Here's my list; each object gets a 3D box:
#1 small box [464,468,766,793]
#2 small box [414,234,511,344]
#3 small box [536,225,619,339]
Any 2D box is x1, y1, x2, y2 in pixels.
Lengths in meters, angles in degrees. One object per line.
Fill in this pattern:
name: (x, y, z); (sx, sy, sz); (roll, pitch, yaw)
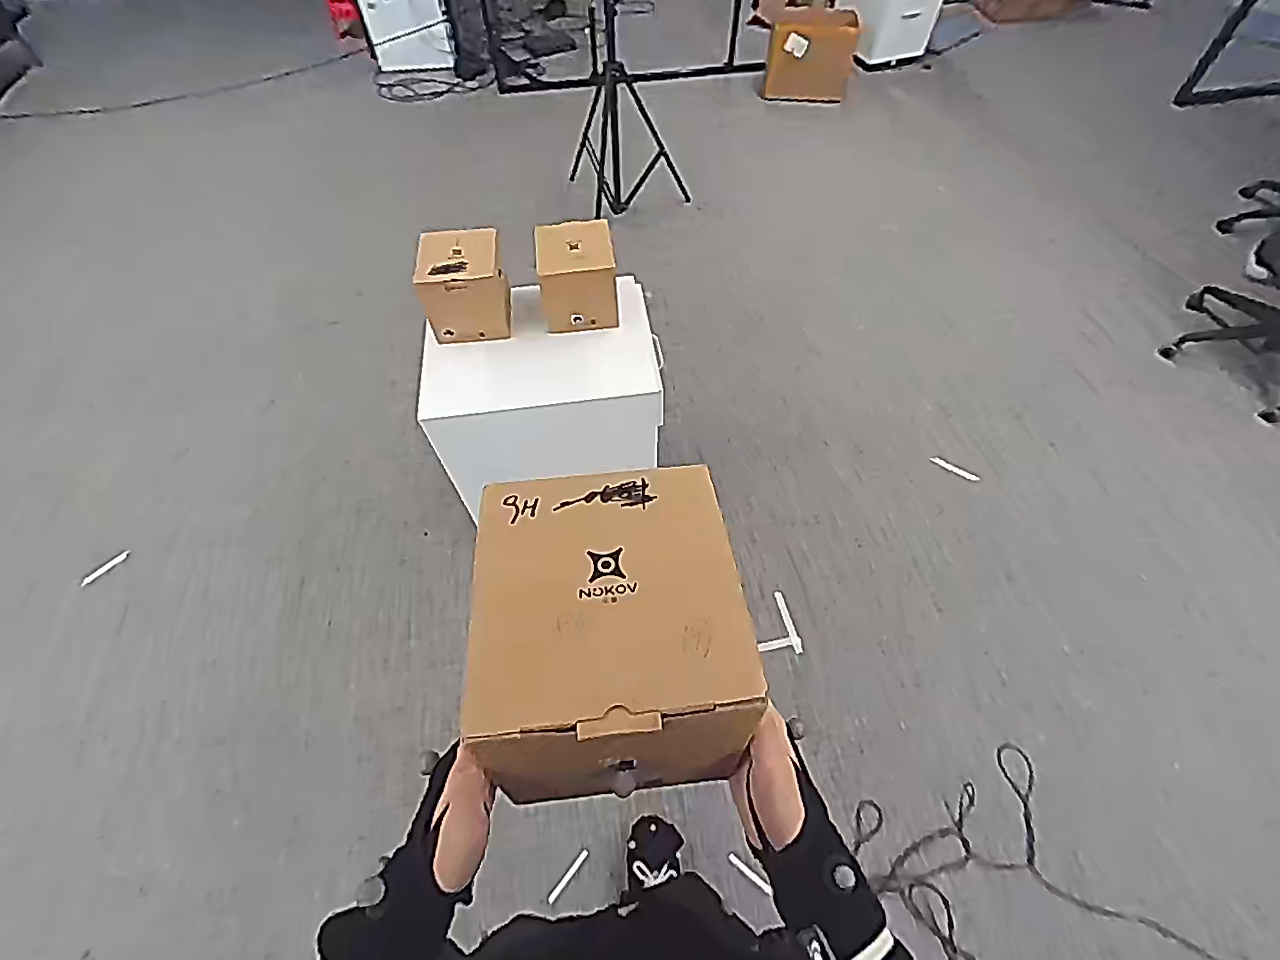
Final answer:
small box: (-0.020, 0.116, 0.398); (0.168, 0.176, 0.179); (-5, 50, -5)
small box: (-0.389, -0.421, 1.213); (0.168, 0.176, 0.179); (-6, 57, -4)
small box: (-0.141, -0.448, 1.232); (0.168, 0.176, 0.179); (-8, 59, -3)
